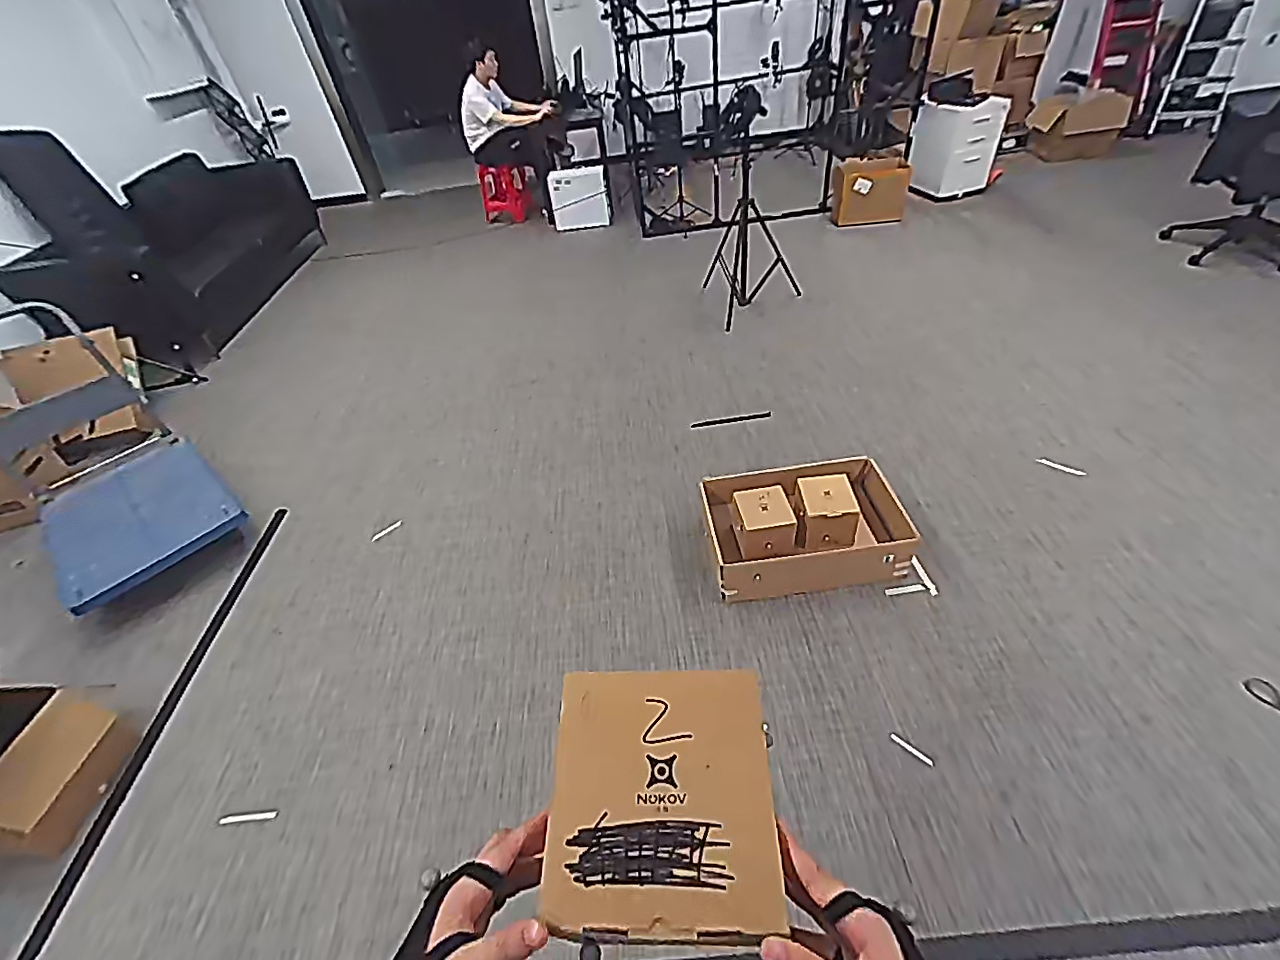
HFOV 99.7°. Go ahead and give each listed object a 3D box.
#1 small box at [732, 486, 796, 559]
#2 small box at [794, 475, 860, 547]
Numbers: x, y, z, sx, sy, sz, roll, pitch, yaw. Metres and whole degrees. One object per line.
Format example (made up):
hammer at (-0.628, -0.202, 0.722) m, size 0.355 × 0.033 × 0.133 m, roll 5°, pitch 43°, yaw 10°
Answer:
small box at (0.410, 0.149, 1.810) m, size 0.168 × 0.176 × 0.179 m, roll -8°, pitch 43°, yaw -2°
small box at (0.623, 0.106, 1.825) m, size 0.168 × 0.176 × 0.179 m, roll -5°, pitch 43°, yaw 5°
